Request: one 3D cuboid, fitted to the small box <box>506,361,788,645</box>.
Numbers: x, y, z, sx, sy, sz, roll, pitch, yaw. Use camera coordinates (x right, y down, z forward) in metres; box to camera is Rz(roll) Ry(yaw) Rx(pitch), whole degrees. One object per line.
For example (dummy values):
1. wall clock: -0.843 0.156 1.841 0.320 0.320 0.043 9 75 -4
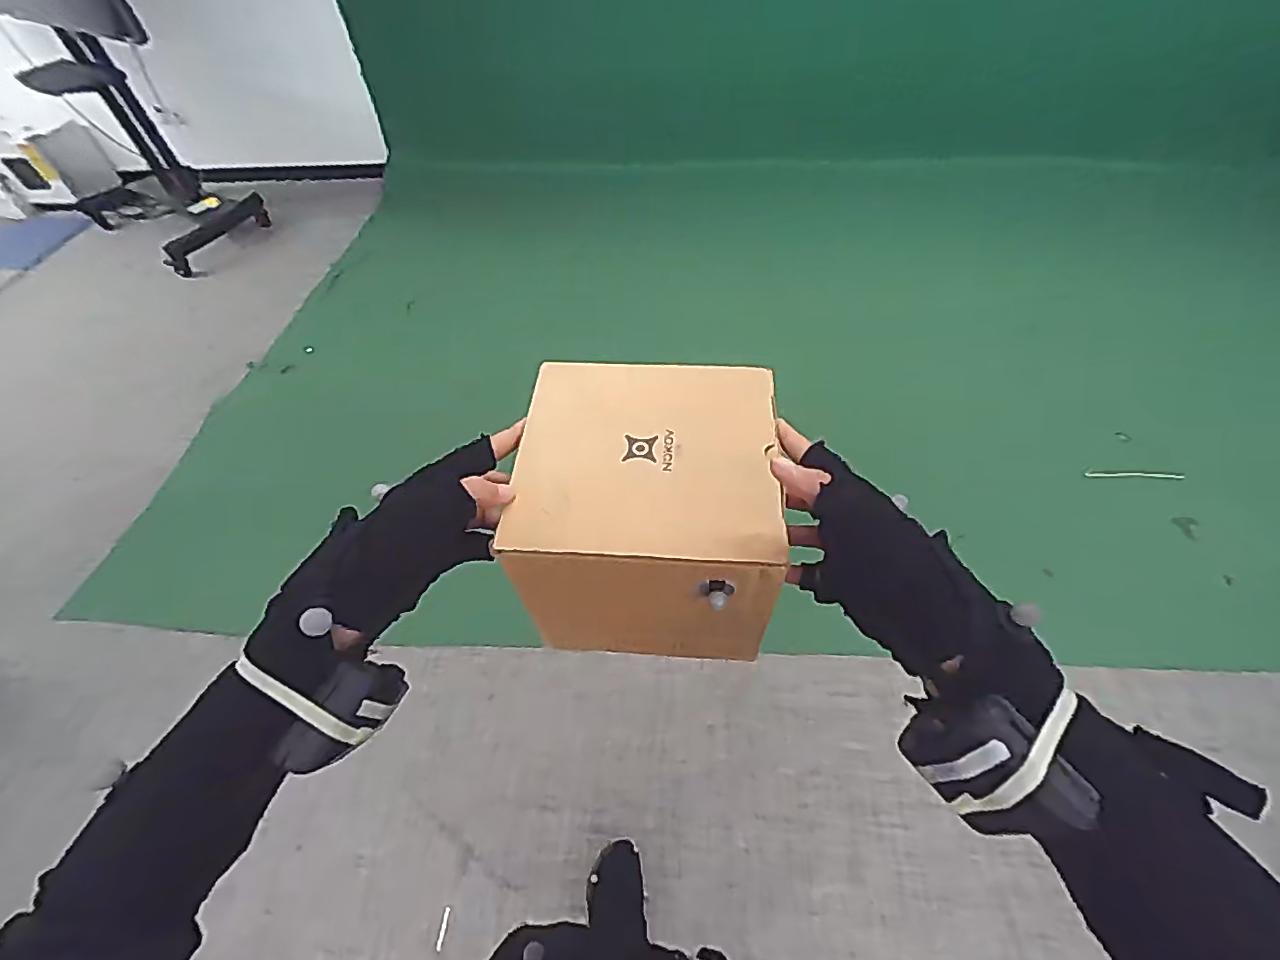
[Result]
1. small box: 0.012 0.024 0.436 0.179 0.176 0.168 2 54 4
